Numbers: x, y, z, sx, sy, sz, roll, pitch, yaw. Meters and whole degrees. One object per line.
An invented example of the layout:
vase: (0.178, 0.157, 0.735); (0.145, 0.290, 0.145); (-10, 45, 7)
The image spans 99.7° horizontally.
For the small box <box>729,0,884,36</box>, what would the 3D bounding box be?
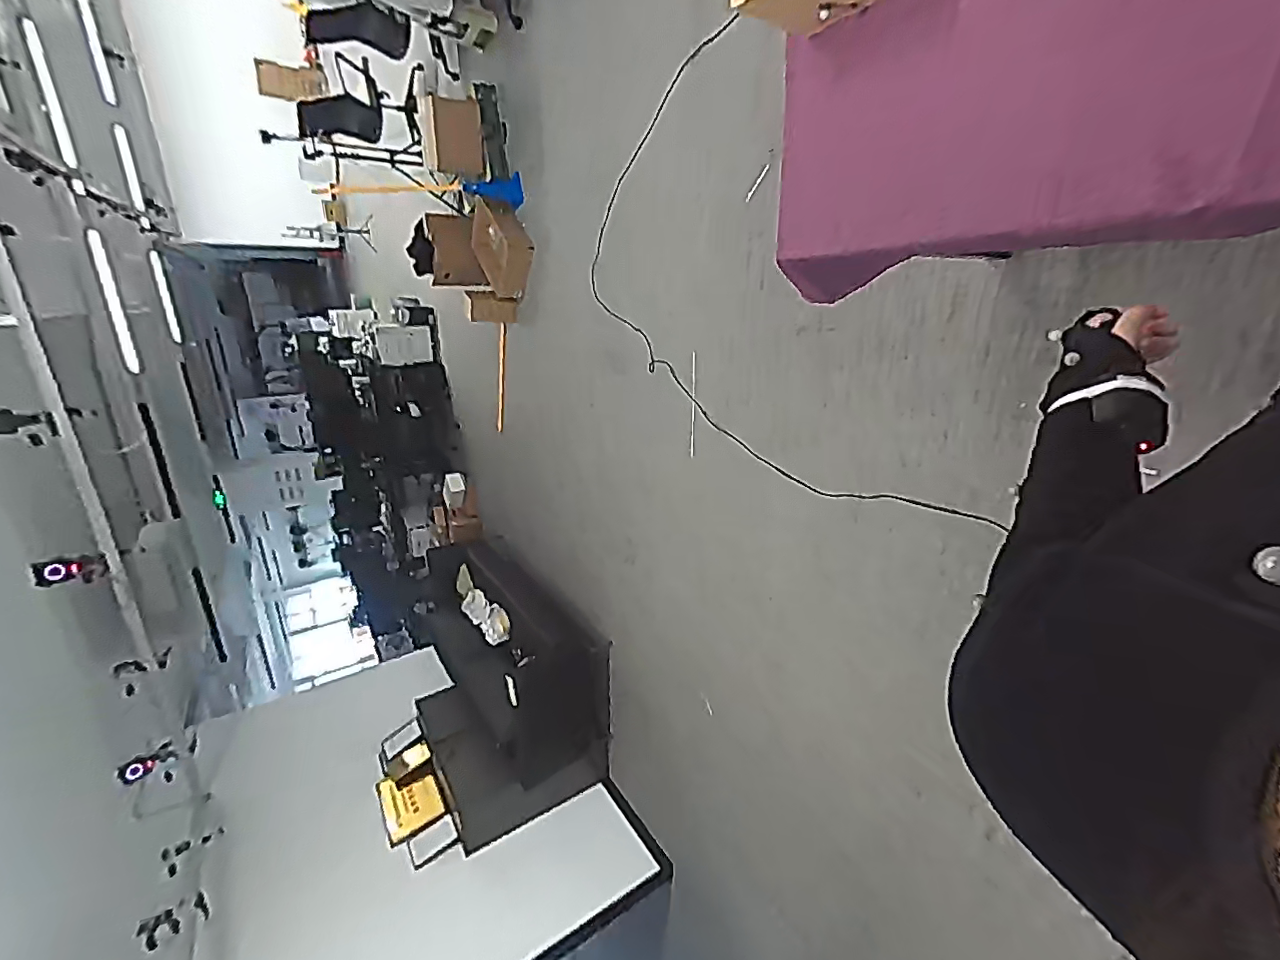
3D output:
small box: (0.245, -0.766, 0.749); (0.168, 0.176, 0.179); (24, 120, 53)
